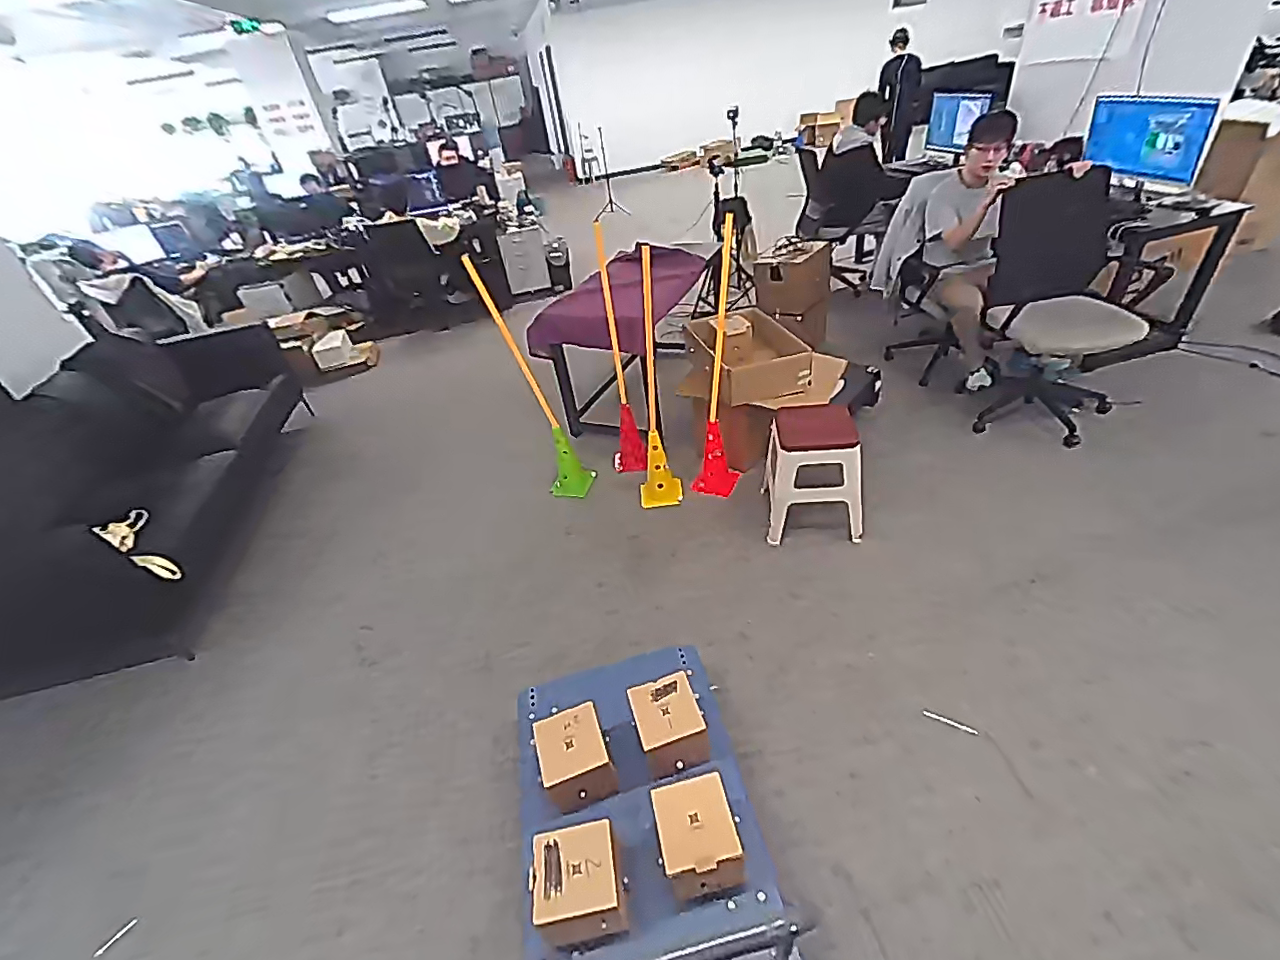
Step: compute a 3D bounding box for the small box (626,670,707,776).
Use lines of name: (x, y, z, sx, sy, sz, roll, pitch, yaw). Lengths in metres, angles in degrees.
small box: (0.072, 0.648, 1.444, 0.168, 0.176, 0.179, -17, 39, -7)

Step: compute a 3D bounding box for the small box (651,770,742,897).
small box: (0.127, 0.805, 1.233, 0.168, 0.176, 0.179, -14, 38, -4)

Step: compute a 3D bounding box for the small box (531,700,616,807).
small box: (-0.171, 0.719, 1.410, 0.168, 0.176, 0.179, -17, 38, -10)
